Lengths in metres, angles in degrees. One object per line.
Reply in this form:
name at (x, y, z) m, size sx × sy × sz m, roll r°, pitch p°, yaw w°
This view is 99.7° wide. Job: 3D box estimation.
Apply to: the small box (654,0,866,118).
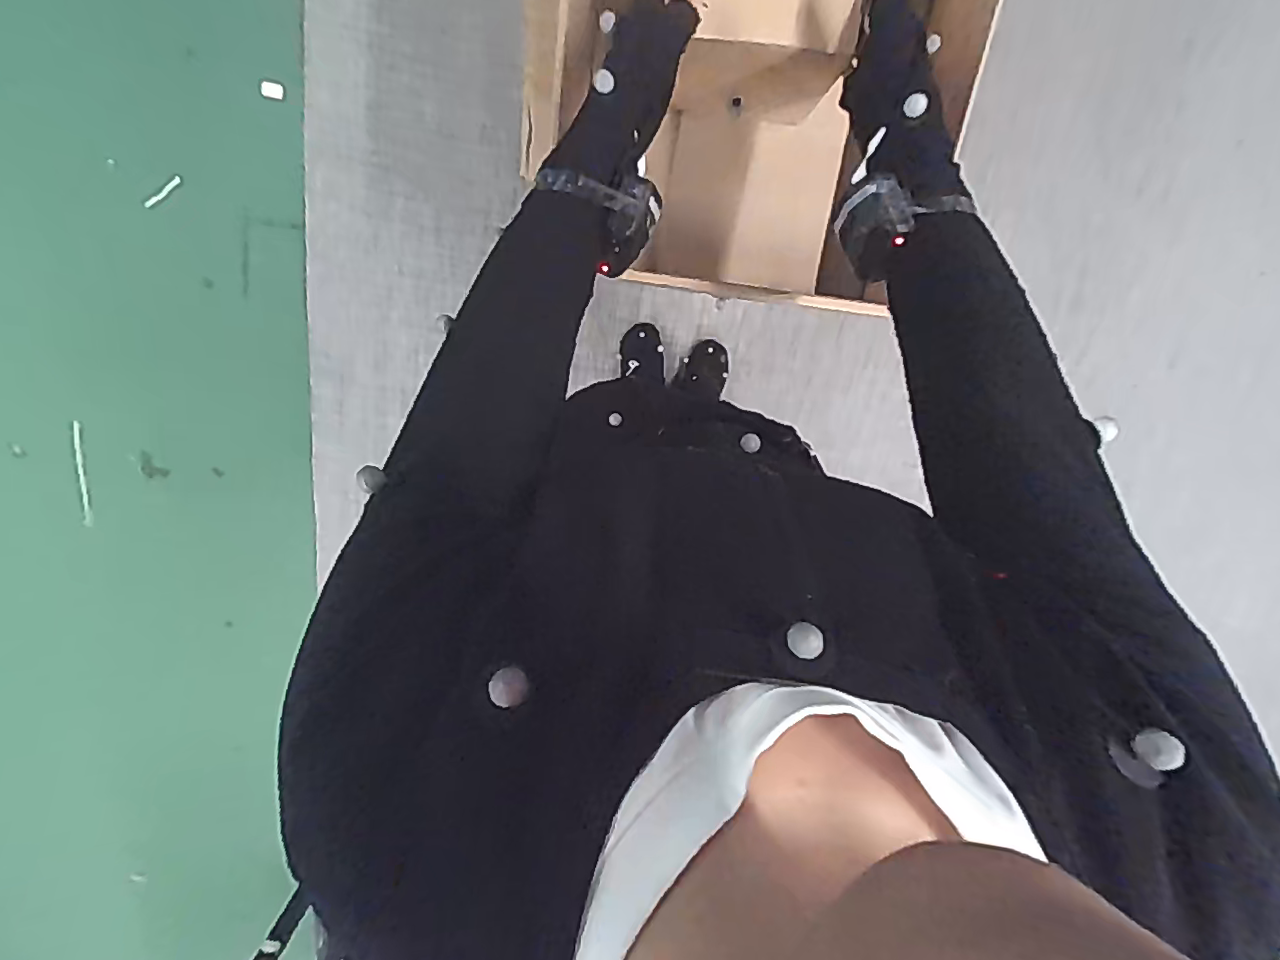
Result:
small box at (0.111, -0.479, 0.525) m, size 0.179 × 0.176 × 0.168 m, roll 6°, pitch 105°, yaw -2°
